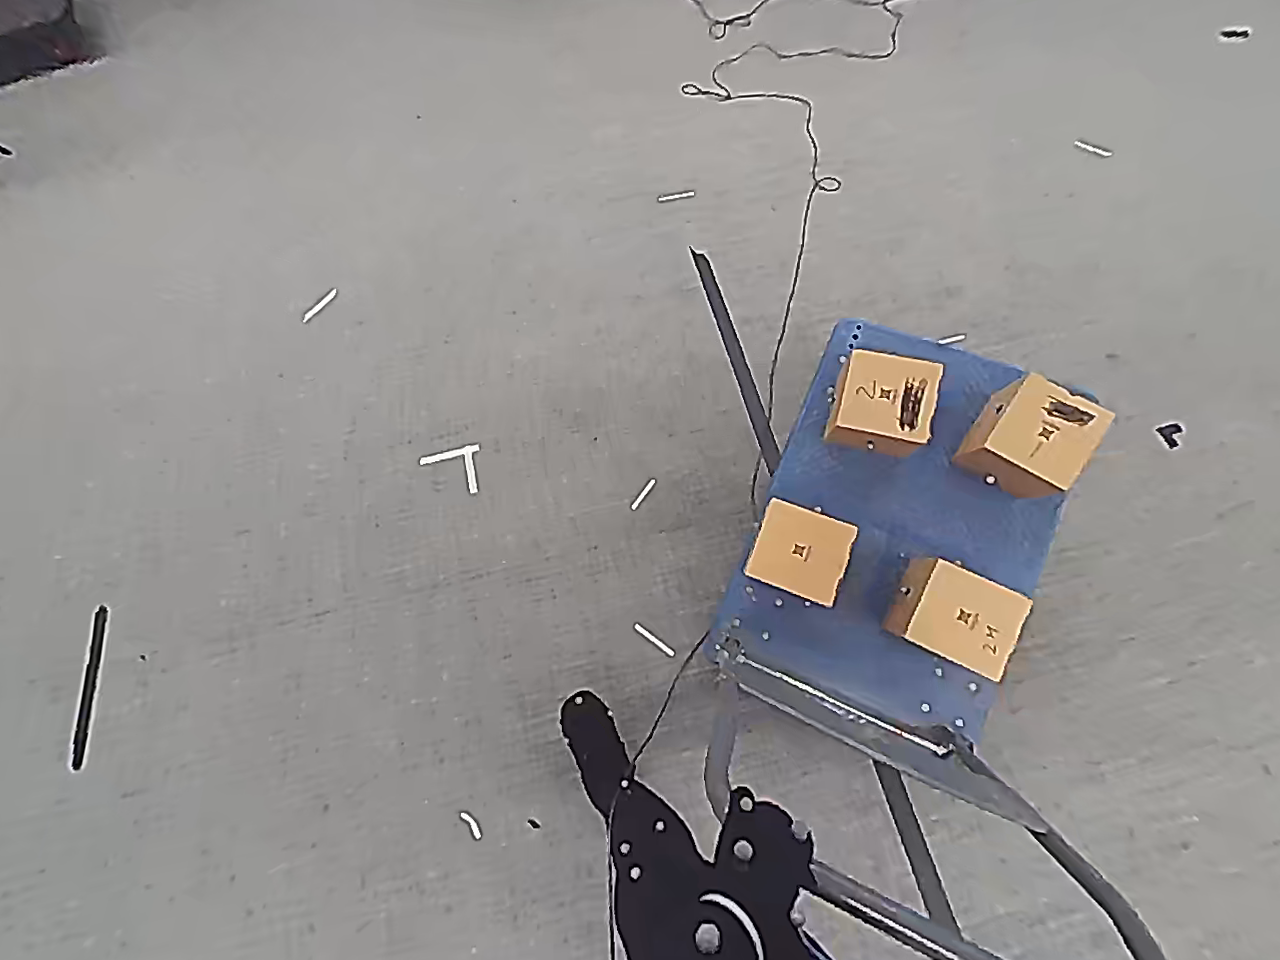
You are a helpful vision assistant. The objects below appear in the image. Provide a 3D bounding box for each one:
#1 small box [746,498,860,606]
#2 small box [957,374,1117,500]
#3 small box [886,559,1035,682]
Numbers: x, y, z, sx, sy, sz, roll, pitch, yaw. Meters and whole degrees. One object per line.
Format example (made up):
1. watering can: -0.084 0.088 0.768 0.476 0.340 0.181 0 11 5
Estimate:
1. small box: 0.330 0.152 1.133 0.179 0.176 0.168 20 85 10
2. small box: 0.782 -0.078 1.090 0.168 0.176 0.179 33 89 13
3. small box: 0.616 0.269 1.066 0.179 0.176 0.168 26 87 13
